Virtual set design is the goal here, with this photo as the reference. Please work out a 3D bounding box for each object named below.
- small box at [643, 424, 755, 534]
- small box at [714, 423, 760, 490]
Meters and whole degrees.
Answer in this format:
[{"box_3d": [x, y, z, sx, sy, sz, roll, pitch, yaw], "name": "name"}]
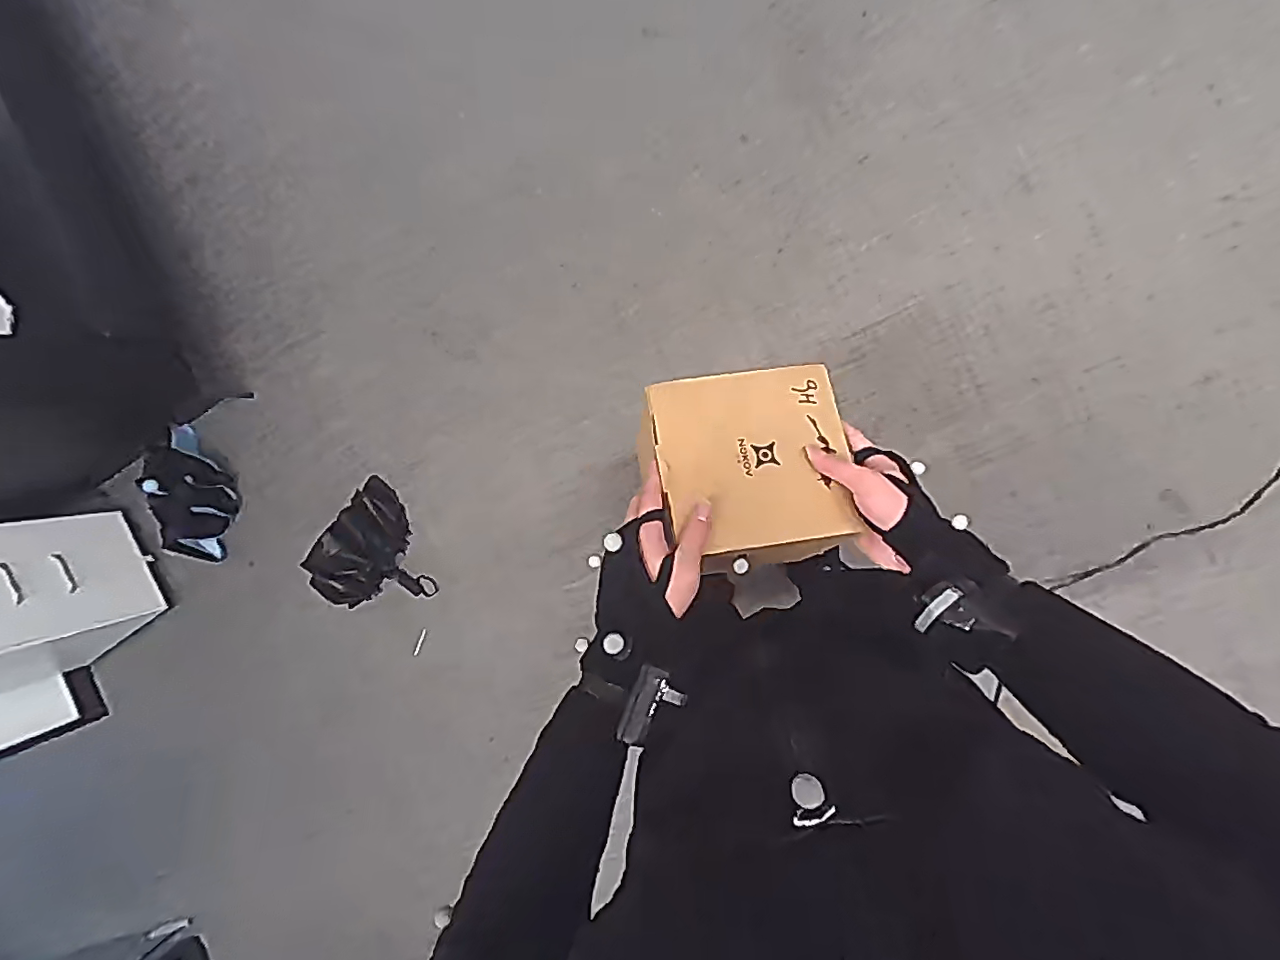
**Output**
[{"box_3d": [0.134, -0.006, 1.175, 0.168, 0.176, 0.179, -30, 86, 18], "name": "small box"}, {"box_3d": [0.181, -0.024, 1.331, 0.168, 0.176, 0.179, -30, 87, 18], "name": "small box"}]
